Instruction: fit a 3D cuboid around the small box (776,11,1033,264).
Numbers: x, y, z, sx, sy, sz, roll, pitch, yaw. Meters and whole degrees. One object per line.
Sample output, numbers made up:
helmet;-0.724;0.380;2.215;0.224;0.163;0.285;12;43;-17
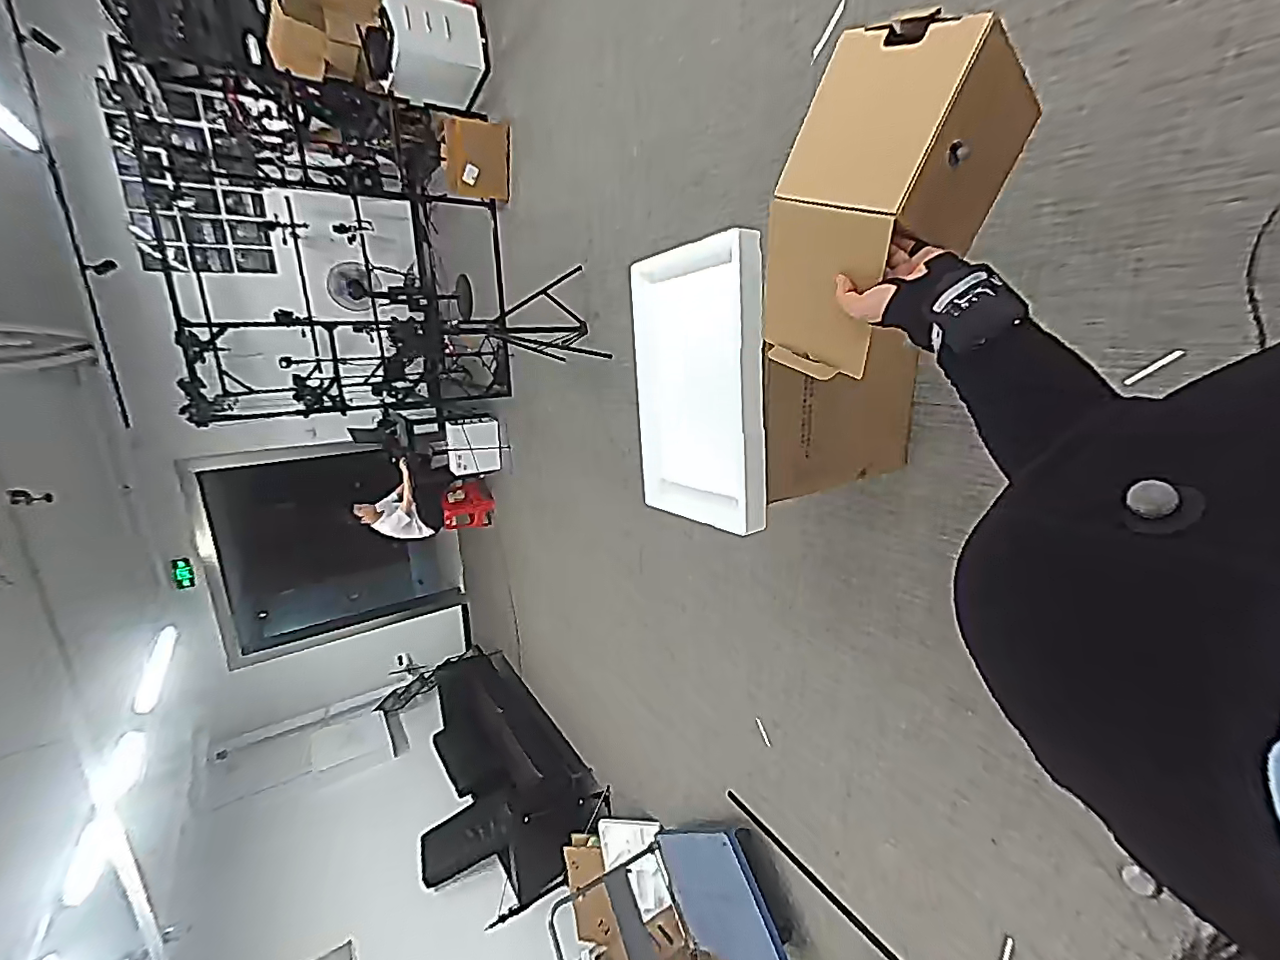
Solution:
small box;0.293;-0.362;0.601;0.168;0.176;0.179;40;115;43
